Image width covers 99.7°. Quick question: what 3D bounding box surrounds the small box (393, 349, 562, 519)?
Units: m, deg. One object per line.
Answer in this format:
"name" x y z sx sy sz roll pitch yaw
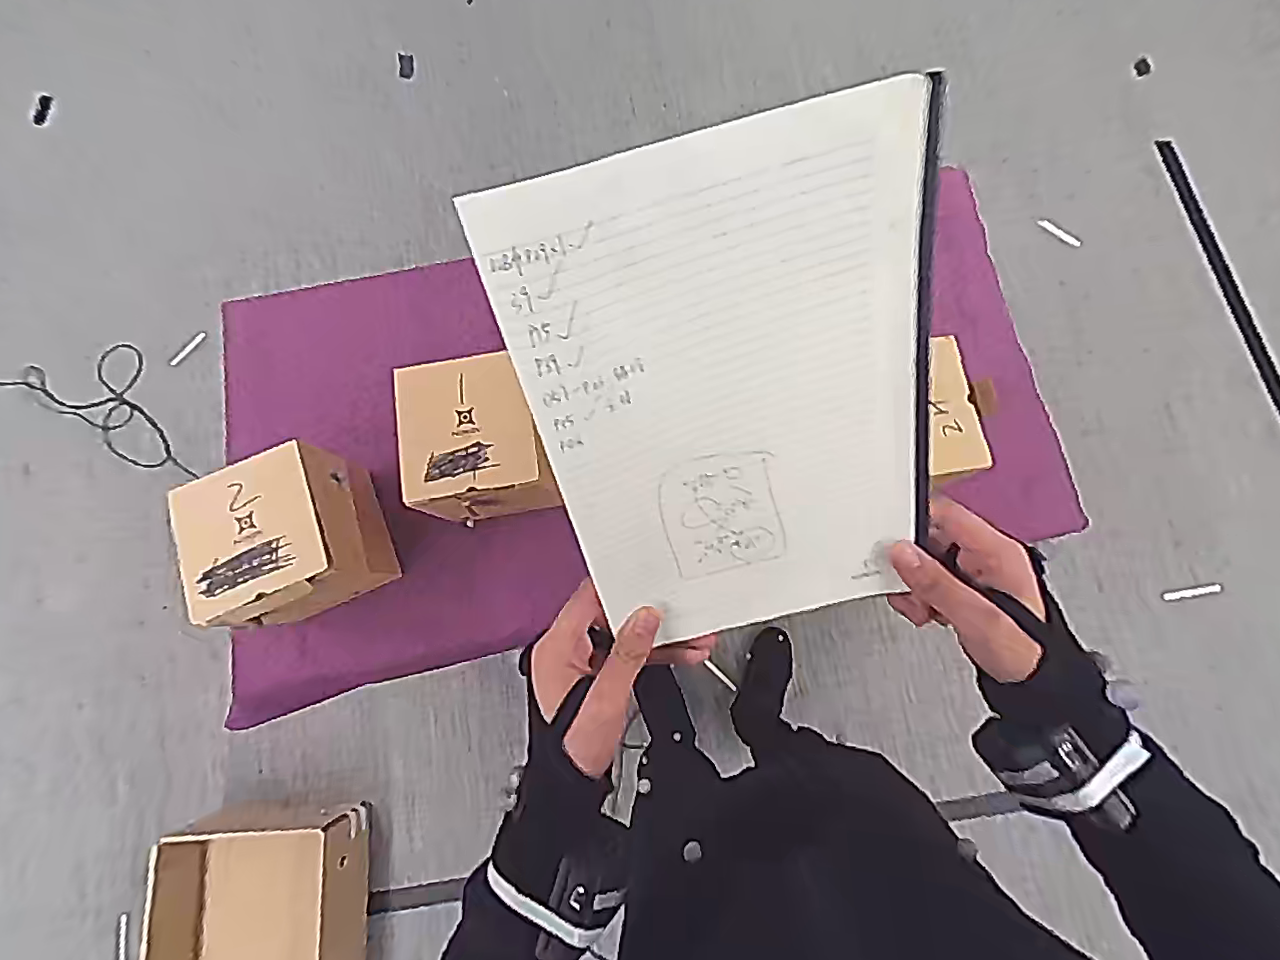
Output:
"small box" -0.207 -0.049 0.724 0.168 0.176 0.179 -10 77 0

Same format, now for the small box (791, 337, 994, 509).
"small box" 0.306 -0.063 0.703 0.179 0.176 0.168 -9 78 1
